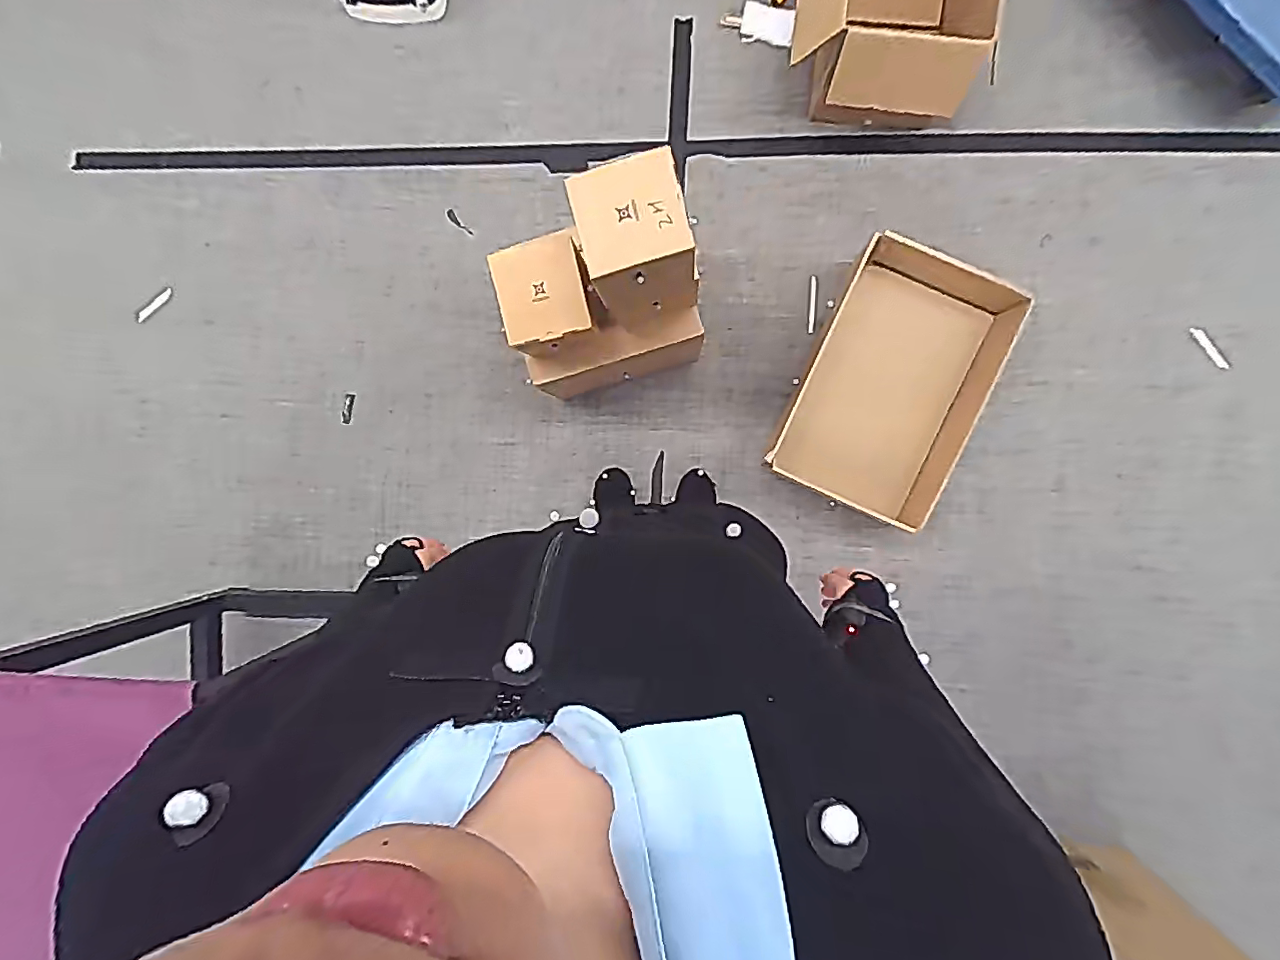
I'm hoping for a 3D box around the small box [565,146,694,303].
[{"bbox_3d":[-0.010,-0.419,0.922,0.179,0.176,0.168,-15,92,5],"label":"small box"}]
